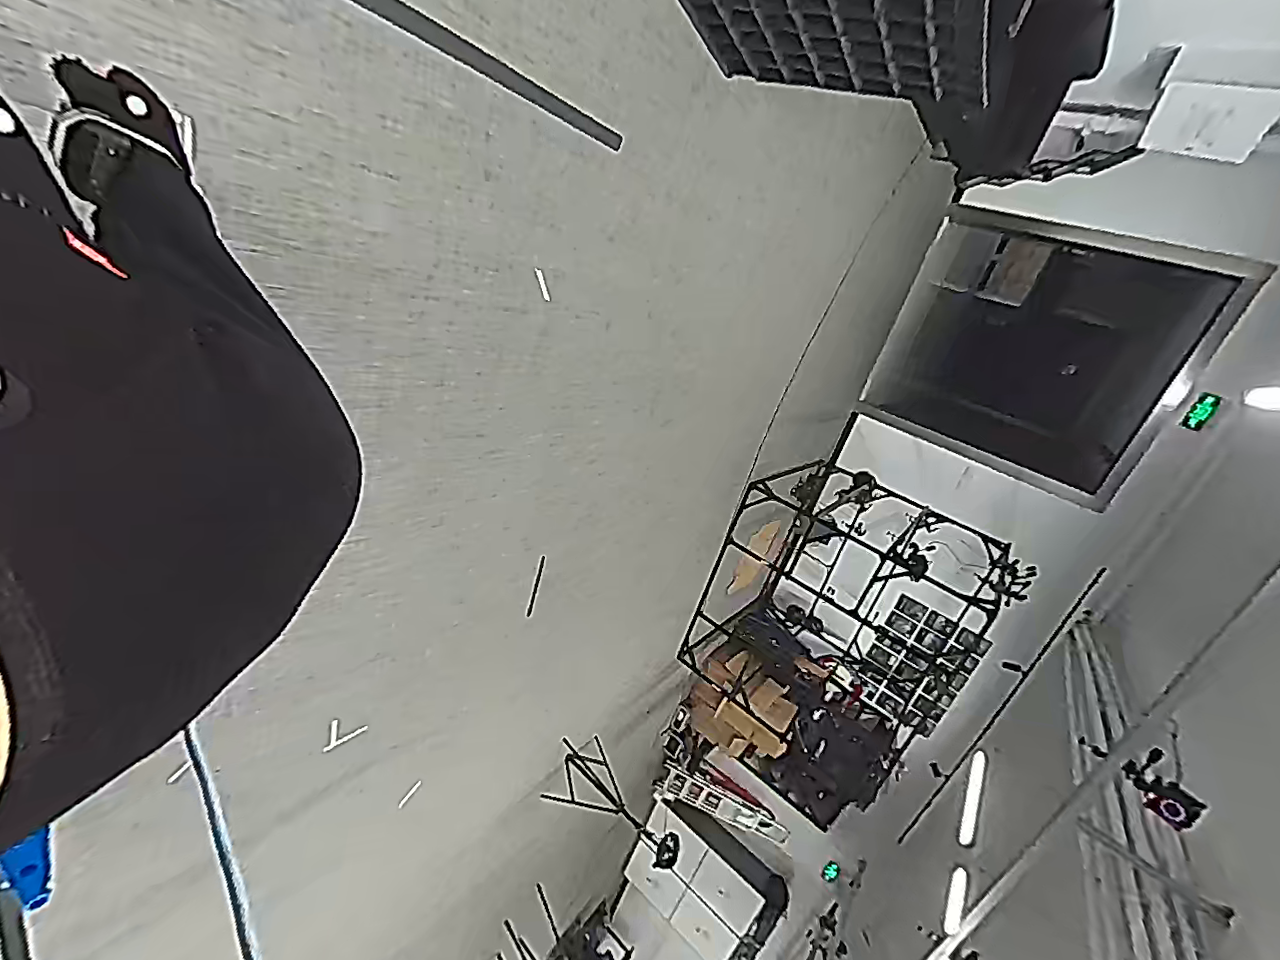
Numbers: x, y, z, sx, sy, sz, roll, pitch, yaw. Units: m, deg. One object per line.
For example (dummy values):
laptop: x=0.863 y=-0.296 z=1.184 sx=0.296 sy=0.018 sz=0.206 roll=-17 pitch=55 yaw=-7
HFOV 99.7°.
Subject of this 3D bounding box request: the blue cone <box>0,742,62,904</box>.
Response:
blue cone: x=-1.437 y=0.823 z=1.248 sx=0.192 sy=0.380 sz=0.193 roll=-19 pitch=133 yaw=-52
